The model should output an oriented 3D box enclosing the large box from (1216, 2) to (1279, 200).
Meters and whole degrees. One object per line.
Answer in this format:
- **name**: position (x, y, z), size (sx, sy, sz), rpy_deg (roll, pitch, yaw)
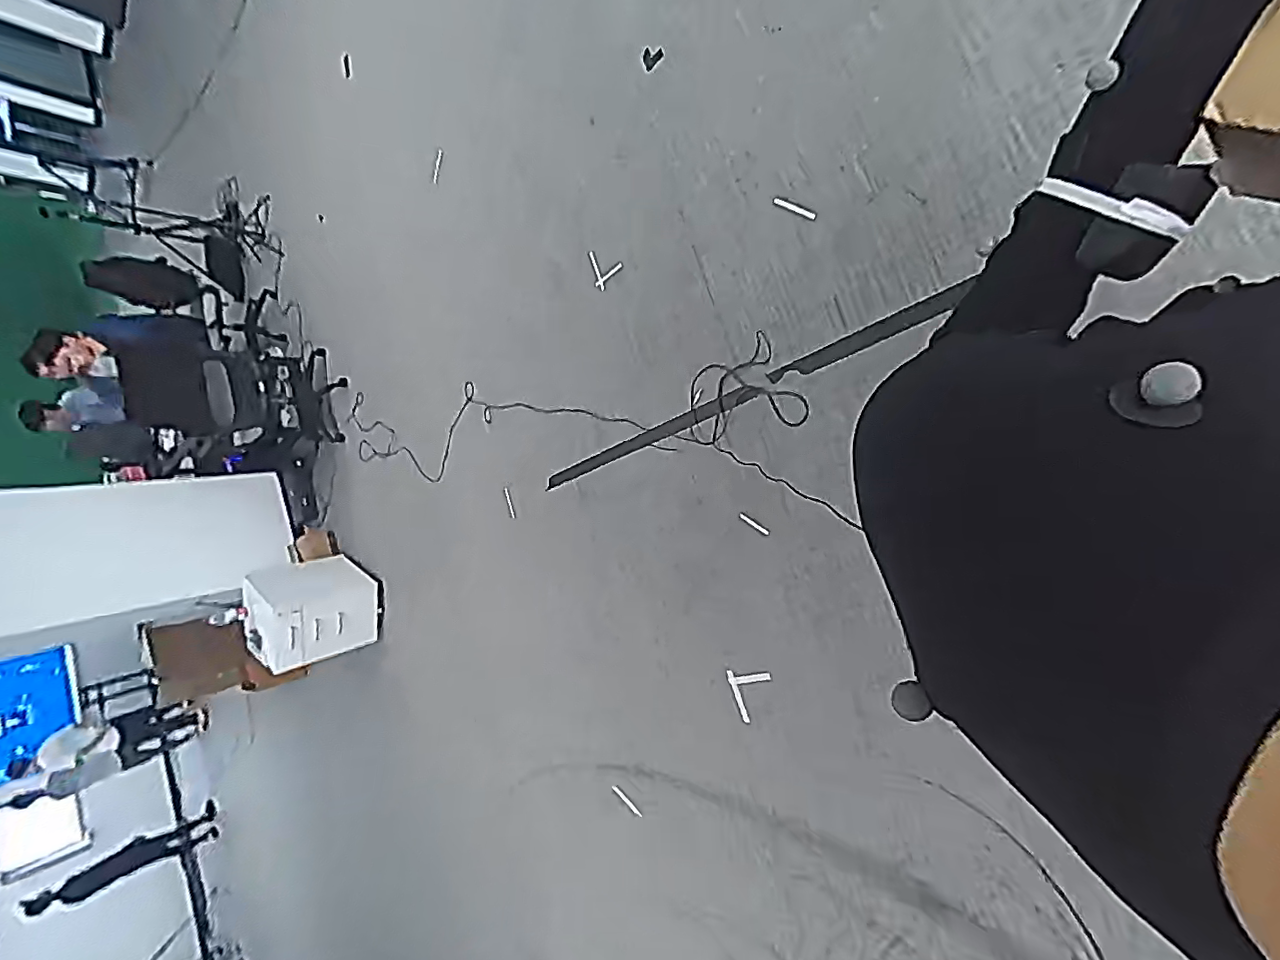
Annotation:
- **large box**: position (0.601, -0.268, 0.225), size (0.408, 0.320, 0.320), rpy_deg (40, 130, 34)
